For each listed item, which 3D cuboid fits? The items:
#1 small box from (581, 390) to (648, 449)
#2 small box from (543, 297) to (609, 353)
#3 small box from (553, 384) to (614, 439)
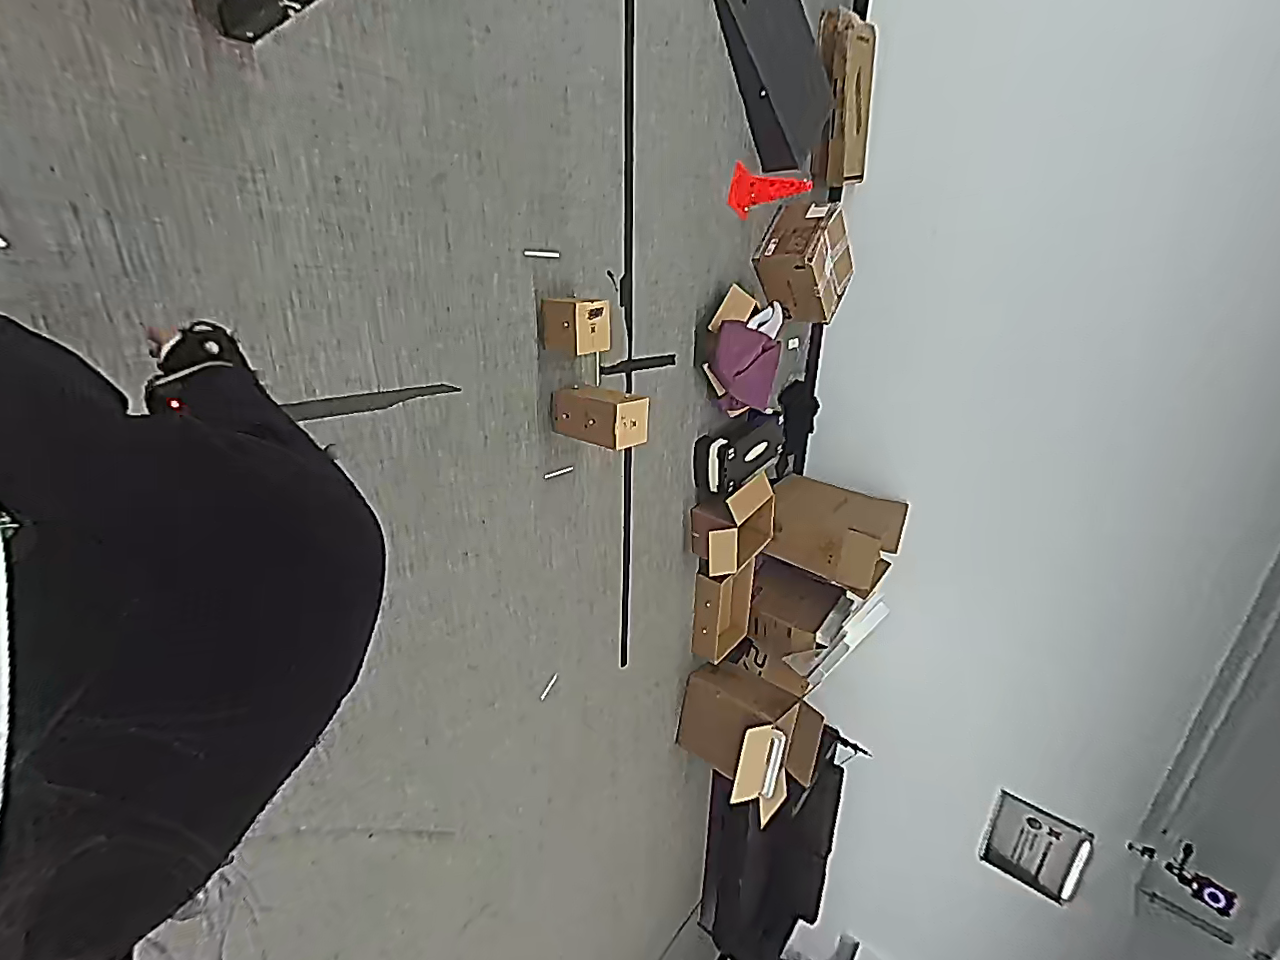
[{"bbox_3d":[-0.092,-0.224,1.941,0.179,0.176,0.168,-20,120,-47],"label":"small box"},{"bbox_3d":[-0.228,-0.551,1.903,0.168,0.176,0.179,-24,123,-45],"label":"small box"},{"bbox_3d":[-0.215,-0.264,2.045,0.179,0.176,0.168,-22,121,-46],"label":"small box"}]
